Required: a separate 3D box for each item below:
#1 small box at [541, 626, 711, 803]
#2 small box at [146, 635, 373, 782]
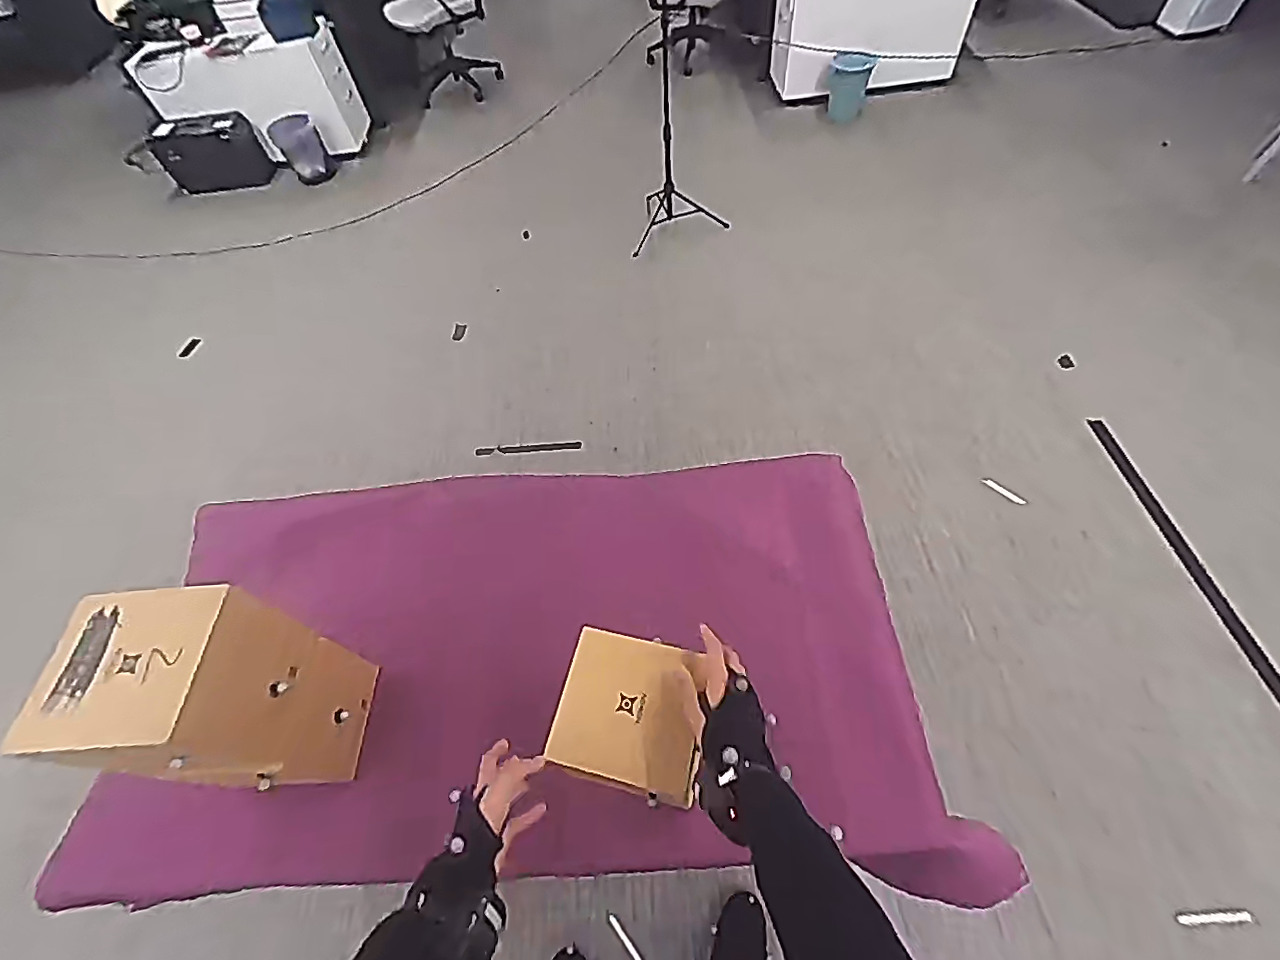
[{"bbox_3d":[-0.007,0.317,0.722,0.179,0.176,0.168,10,58,11],"label":"small box"},{"bbox_3d":[-0.511,0.325,0.762,0.179,0.176,0.168,-3,56,3],"label":"small box"}]
